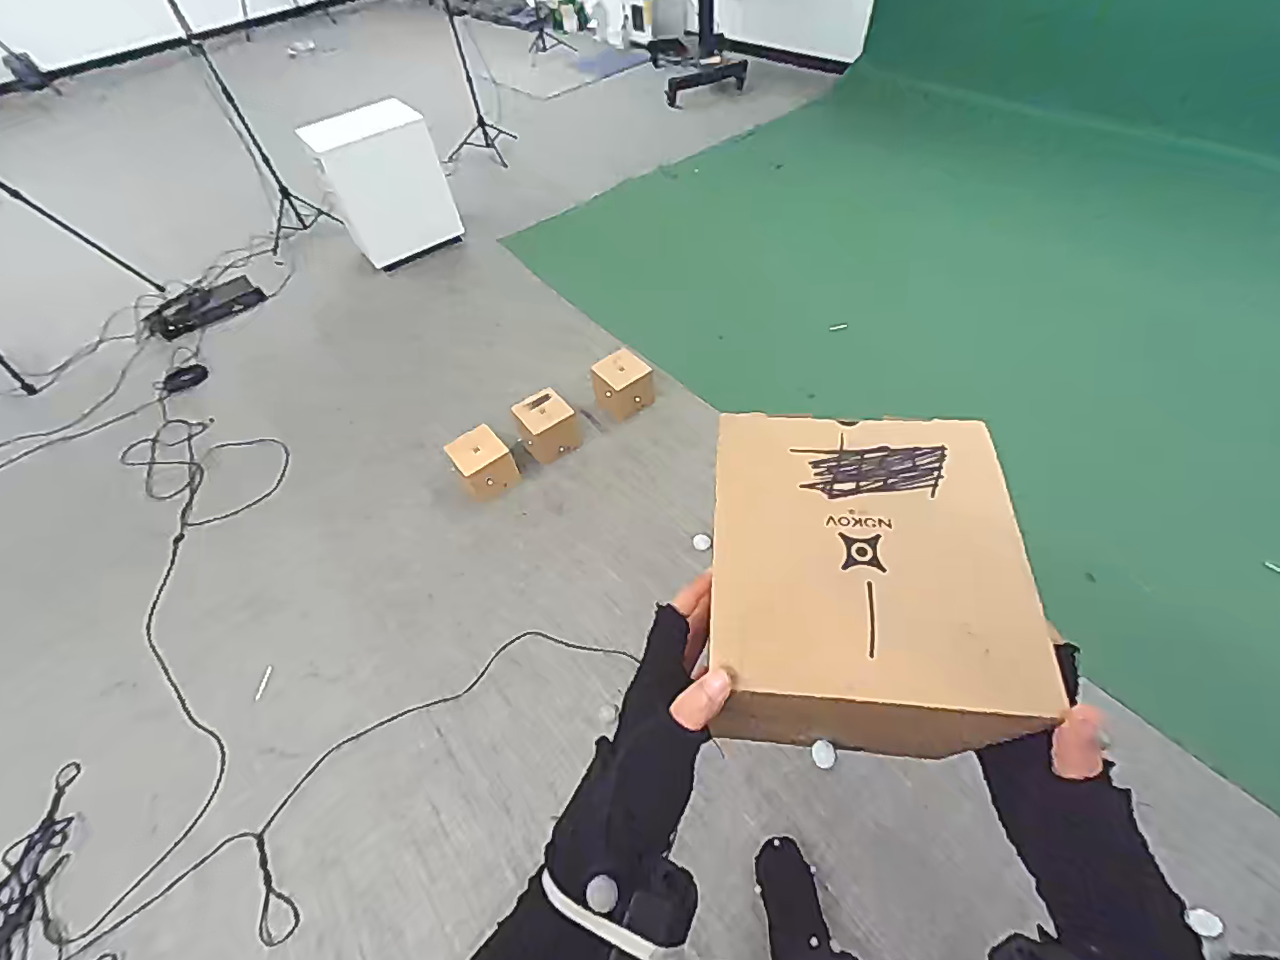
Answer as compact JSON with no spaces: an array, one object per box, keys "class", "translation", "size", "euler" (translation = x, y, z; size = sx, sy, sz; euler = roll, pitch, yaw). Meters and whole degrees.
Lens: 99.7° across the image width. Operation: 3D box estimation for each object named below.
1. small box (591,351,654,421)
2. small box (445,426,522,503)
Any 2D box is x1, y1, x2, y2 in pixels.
[{"class":"small box","translation":[-0.059,-0.347,2.038],"size":[0.168,0.176,0.179],"euler":[-34,56,-20]},{"class":"small box","translation":[-0.529,-0.045,1.851],"size":[0.168,0.176,0.179],"euler":[-35,56,-19]}]
